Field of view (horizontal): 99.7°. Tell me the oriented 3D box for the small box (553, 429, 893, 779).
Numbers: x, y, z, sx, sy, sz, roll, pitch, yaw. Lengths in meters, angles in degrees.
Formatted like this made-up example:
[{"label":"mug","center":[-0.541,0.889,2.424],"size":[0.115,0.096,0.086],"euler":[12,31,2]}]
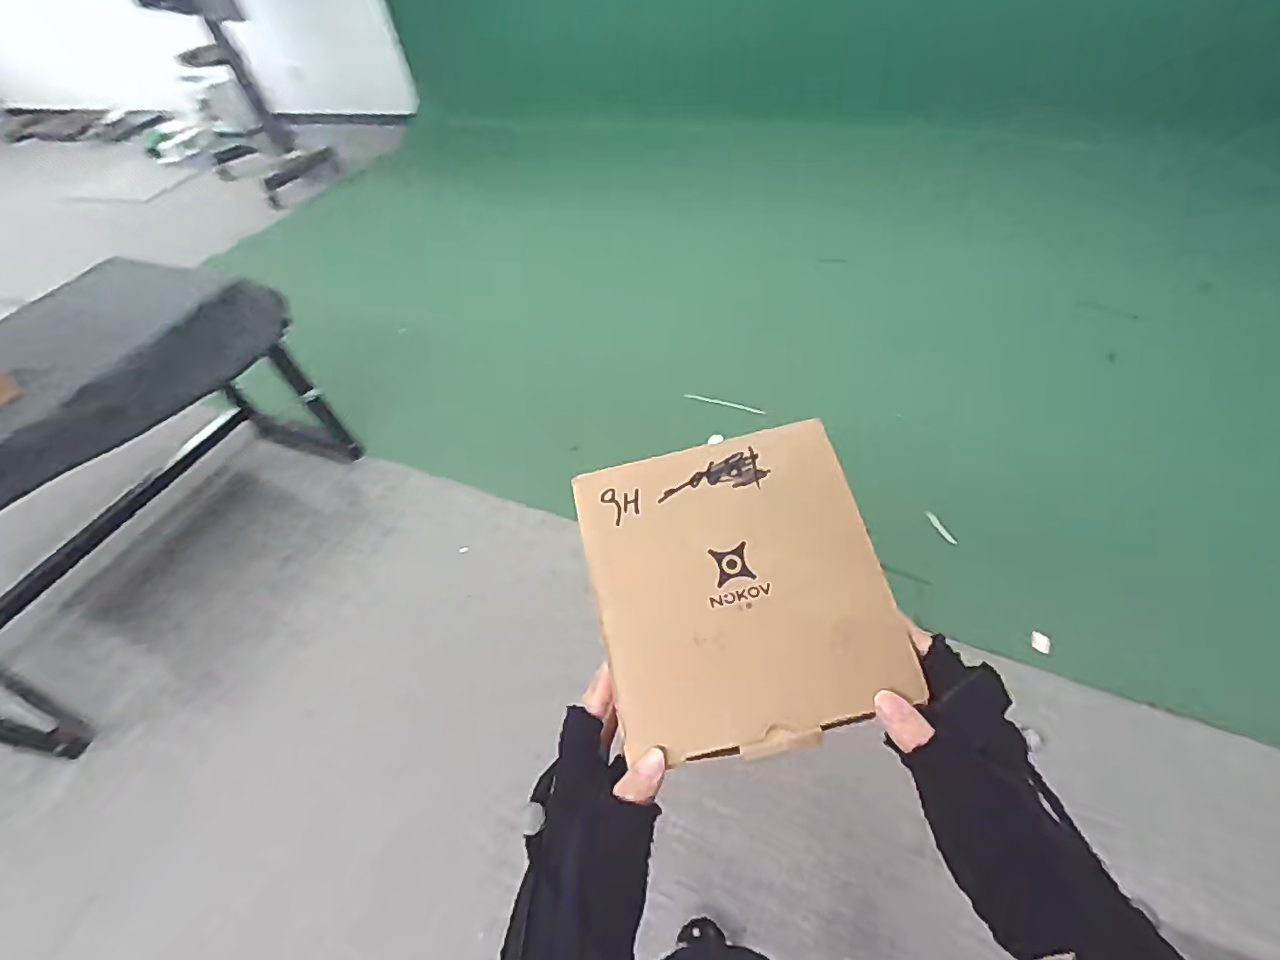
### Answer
[{"label":"small box","center":[0.048,0.090,0.394],"size":[0.168,0.176,0.179],"euler":[-14,69,-1]}]
